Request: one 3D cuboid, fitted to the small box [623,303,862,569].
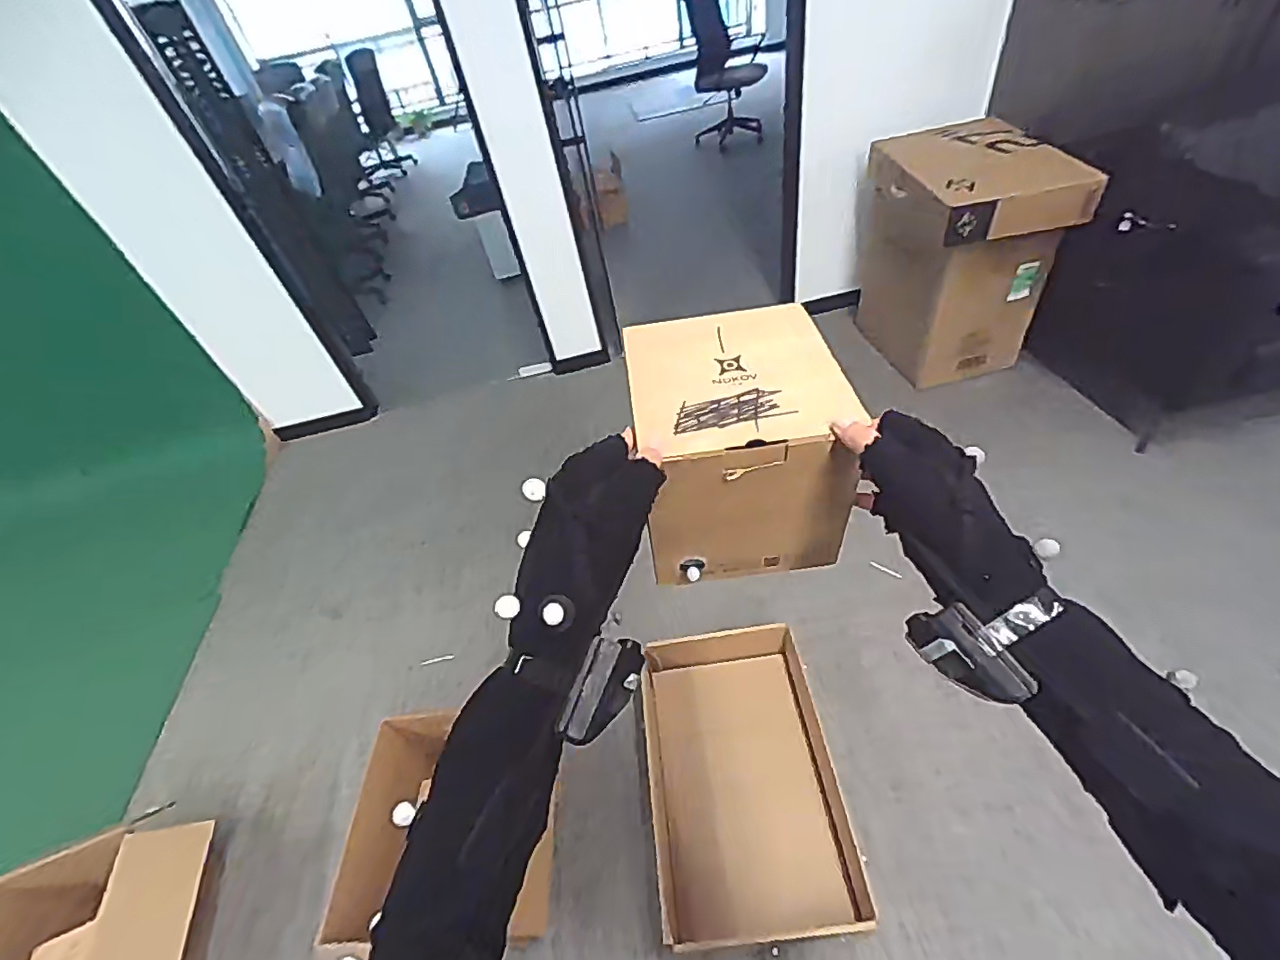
[{"bbox_3d":[0.079,-0.032,0.492,0.168,0.176,0.179,-7,47,1],"label":"small box"}]
